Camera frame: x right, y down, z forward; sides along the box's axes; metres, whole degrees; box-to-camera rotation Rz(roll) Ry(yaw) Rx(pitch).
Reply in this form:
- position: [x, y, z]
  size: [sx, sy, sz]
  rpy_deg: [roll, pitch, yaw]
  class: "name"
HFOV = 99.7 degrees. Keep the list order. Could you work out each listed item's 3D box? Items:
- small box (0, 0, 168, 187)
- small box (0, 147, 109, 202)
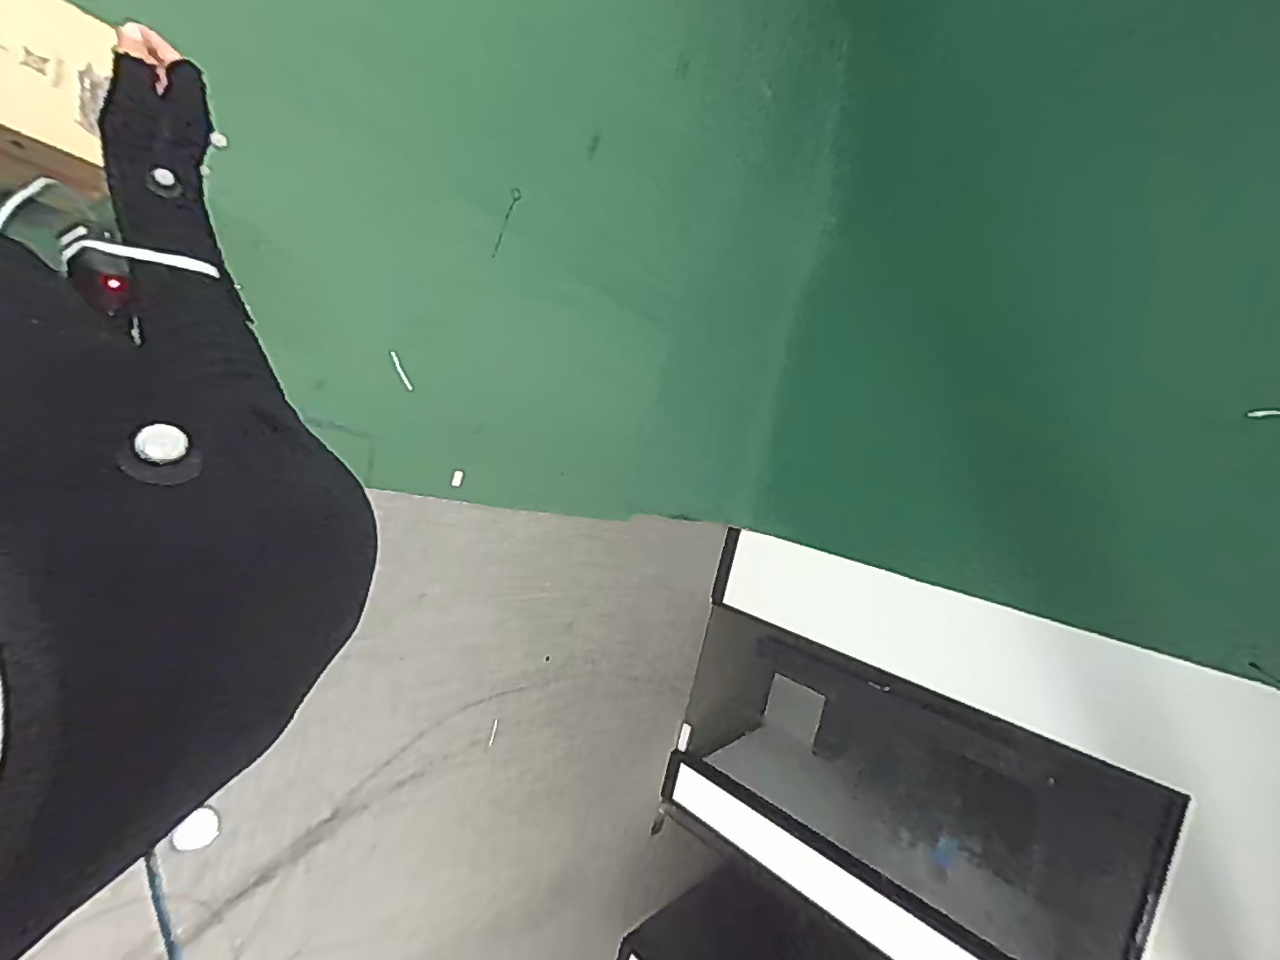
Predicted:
- position: [-0.746, -0.497, 0.680]
  size: [0.179, 0.176, 0.168]
  rpy_deg: [16, 88, -52]
  class: "small box"
- position: [-0.879, -0.523, 0.778]
  size: [0.179, 0.176, 0.168]
  rpy_deg: [13, 93, -52]
  class: "small box"
